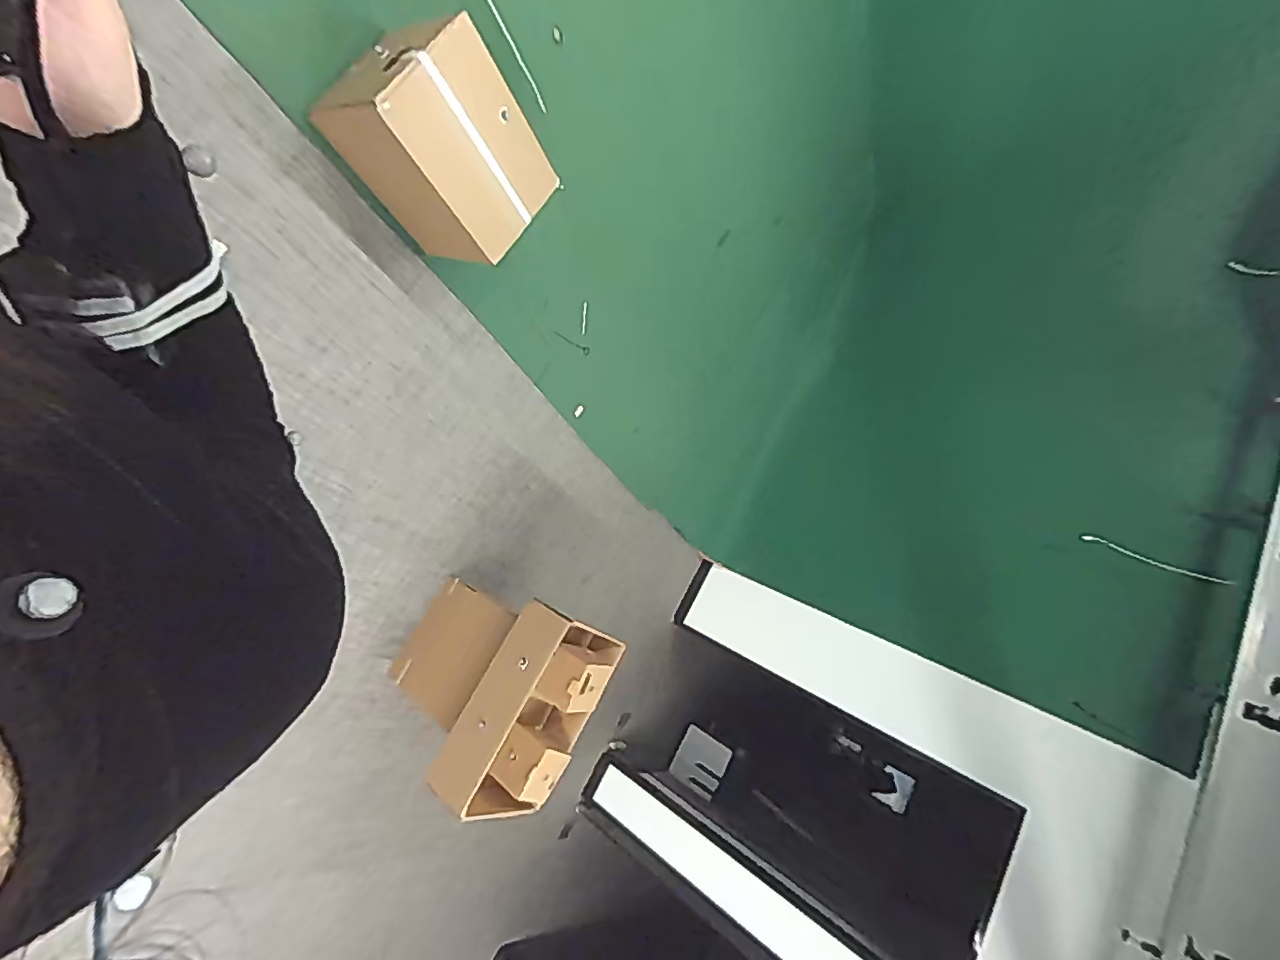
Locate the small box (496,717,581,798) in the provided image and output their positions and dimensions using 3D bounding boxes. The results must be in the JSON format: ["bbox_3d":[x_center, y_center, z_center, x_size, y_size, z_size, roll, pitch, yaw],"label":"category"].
[{"bbox_3d":[-0.333,0.900,1.763,0.168,0.176,0.179,-56,143,-18],"label":"small box"}]
